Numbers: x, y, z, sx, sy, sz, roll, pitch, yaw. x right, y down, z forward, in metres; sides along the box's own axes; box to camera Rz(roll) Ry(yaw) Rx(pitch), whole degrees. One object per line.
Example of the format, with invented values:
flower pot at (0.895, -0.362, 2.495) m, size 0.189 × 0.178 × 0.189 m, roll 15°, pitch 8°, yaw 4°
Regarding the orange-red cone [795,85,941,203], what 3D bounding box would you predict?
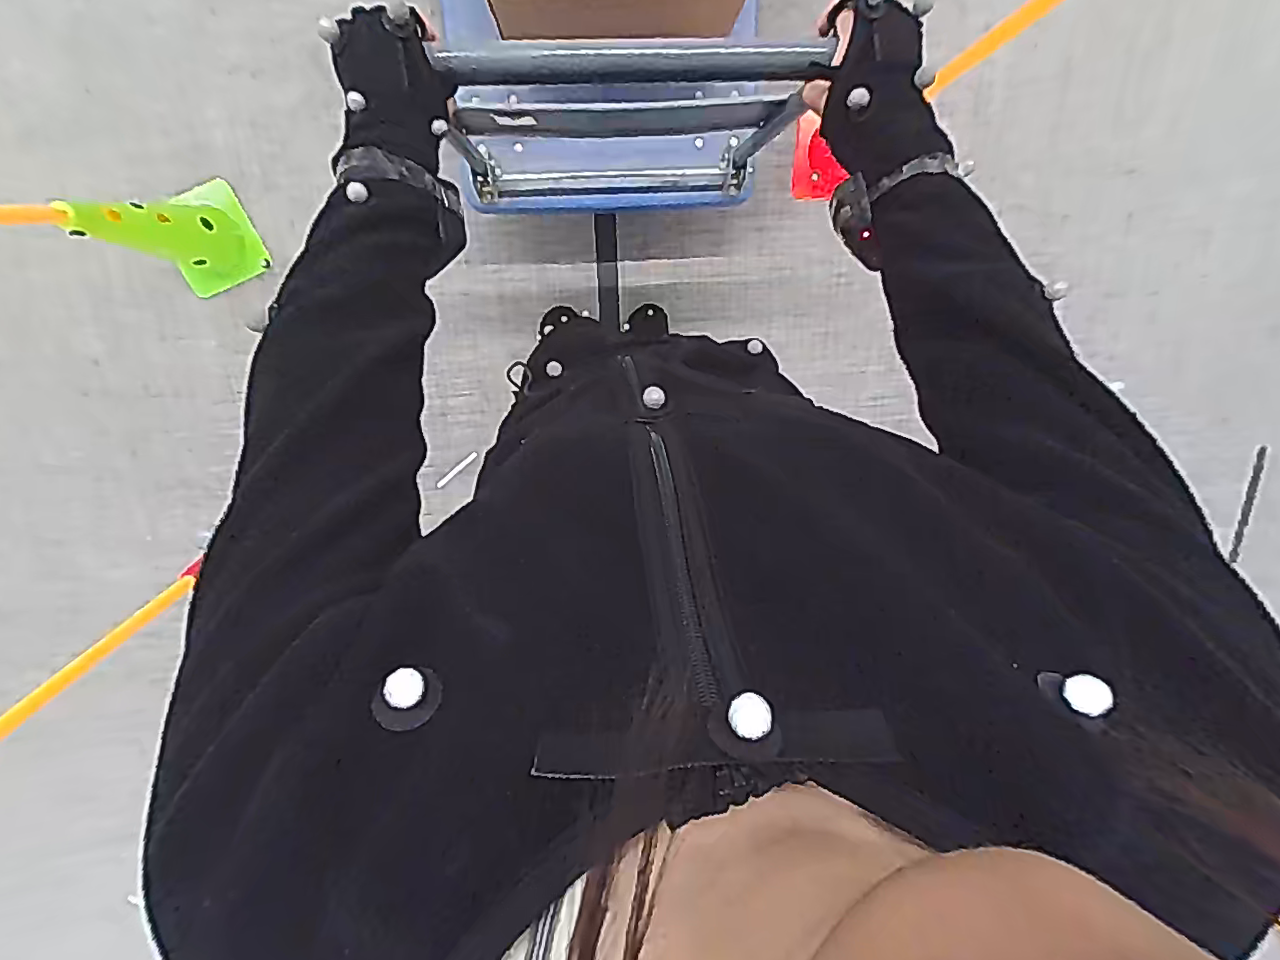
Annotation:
orange-red cone at (0.473, -0.692, 1.065) m, size 0.199 × 0.360 × 0.198 m, roll 3°, pitch 108°, yaw -6°
